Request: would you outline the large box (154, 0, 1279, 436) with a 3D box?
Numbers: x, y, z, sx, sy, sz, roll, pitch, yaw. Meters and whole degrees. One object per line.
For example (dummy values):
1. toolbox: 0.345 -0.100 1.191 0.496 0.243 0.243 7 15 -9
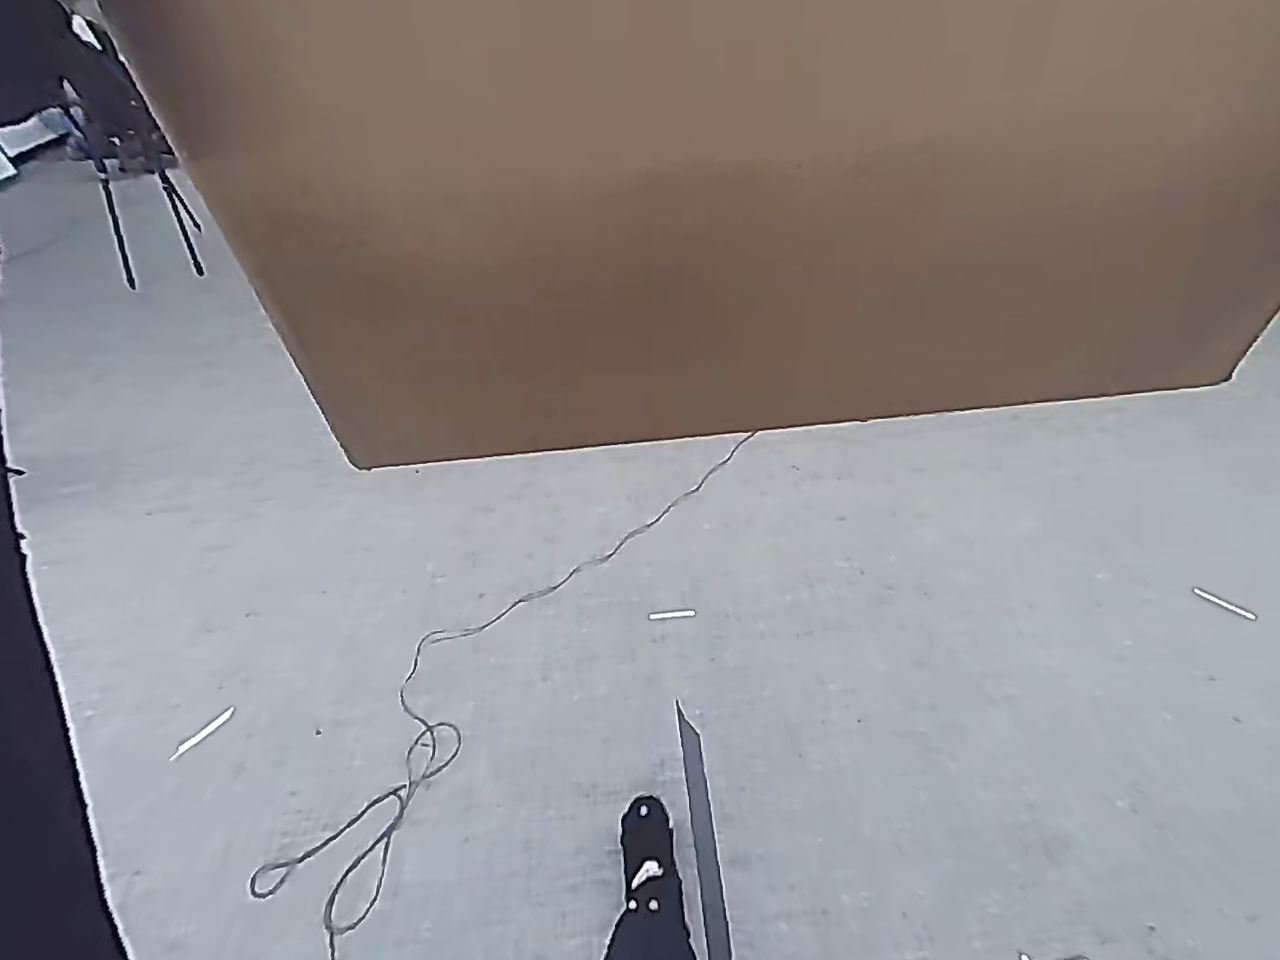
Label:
1. large box: 0.045 -0.246 0.269 0.408 0.320 0.320 -5 42 -2
